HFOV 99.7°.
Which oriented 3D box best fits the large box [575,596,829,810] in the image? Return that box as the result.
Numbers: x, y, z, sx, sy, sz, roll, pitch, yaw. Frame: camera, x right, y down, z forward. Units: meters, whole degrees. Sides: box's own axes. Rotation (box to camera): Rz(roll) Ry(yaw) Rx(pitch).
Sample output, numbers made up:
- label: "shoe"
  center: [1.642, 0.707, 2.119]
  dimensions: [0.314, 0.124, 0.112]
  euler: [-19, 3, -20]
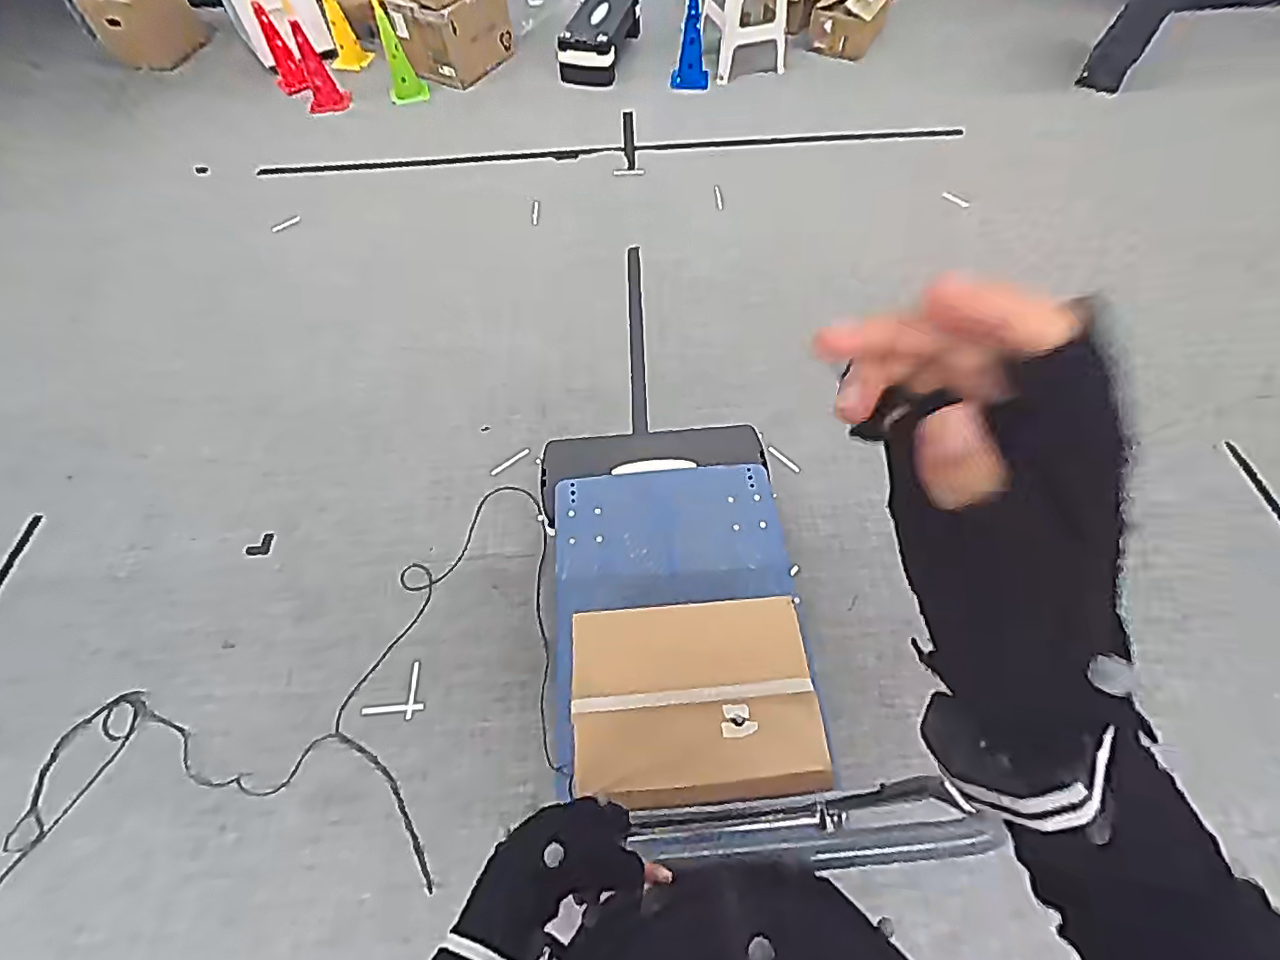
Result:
- label: "large box"
  center: [0.091, 0.442, 1.054]
  dimensions: [0.408, 0.320, 0.320]
  euler: [-4, 60, -2]
